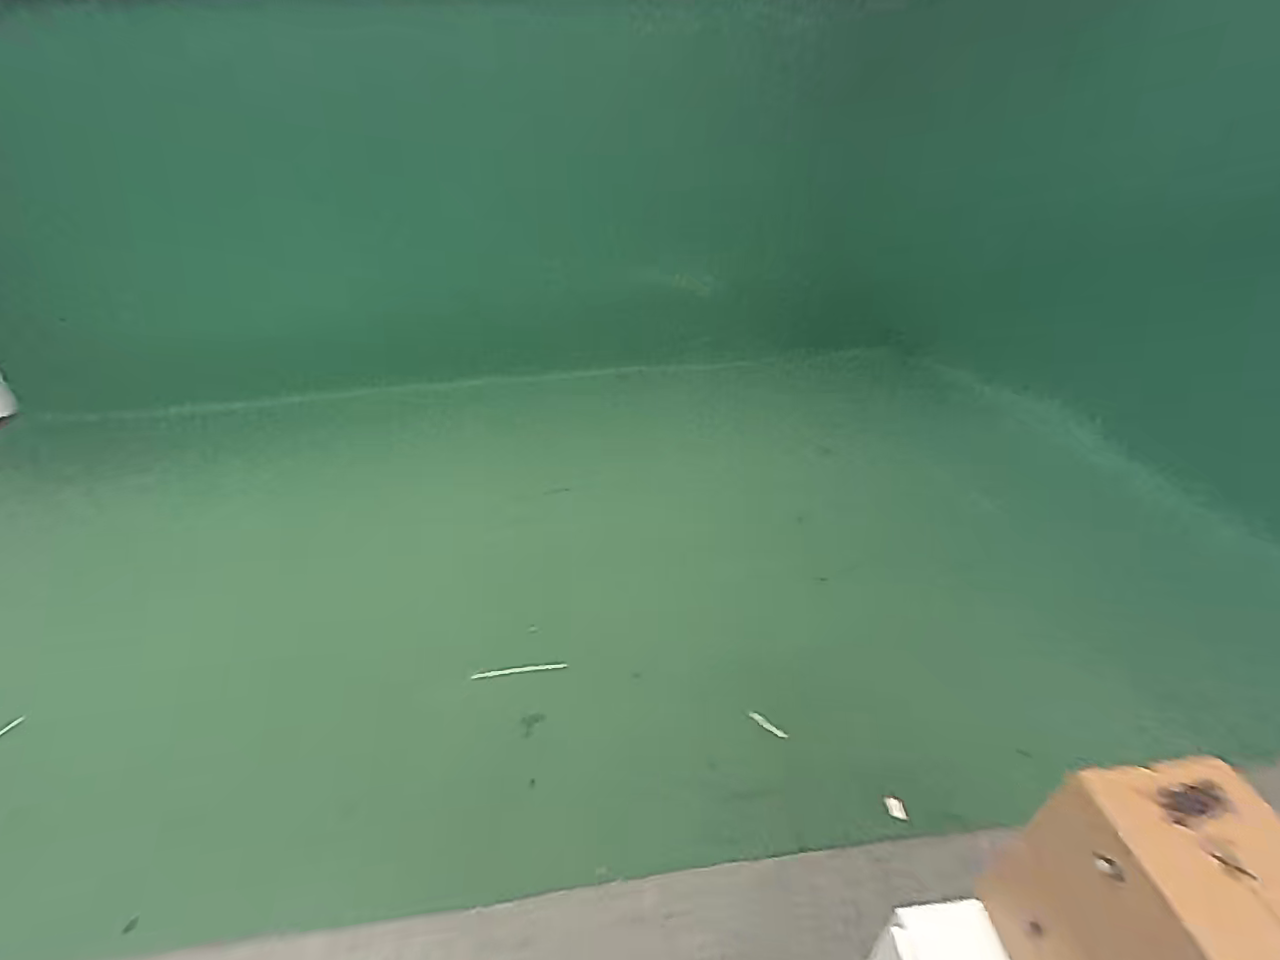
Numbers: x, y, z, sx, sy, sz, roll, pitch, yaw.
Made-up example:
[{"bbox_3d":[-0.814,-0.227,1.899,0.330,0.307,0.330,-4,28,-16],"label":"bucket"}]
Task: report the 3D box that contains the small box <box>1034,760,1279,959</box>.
[{"bbox_3d":[0.562,0.423,0.558,0.168,0.176,0.179,-4,36,-2],"label":"small box"}]
